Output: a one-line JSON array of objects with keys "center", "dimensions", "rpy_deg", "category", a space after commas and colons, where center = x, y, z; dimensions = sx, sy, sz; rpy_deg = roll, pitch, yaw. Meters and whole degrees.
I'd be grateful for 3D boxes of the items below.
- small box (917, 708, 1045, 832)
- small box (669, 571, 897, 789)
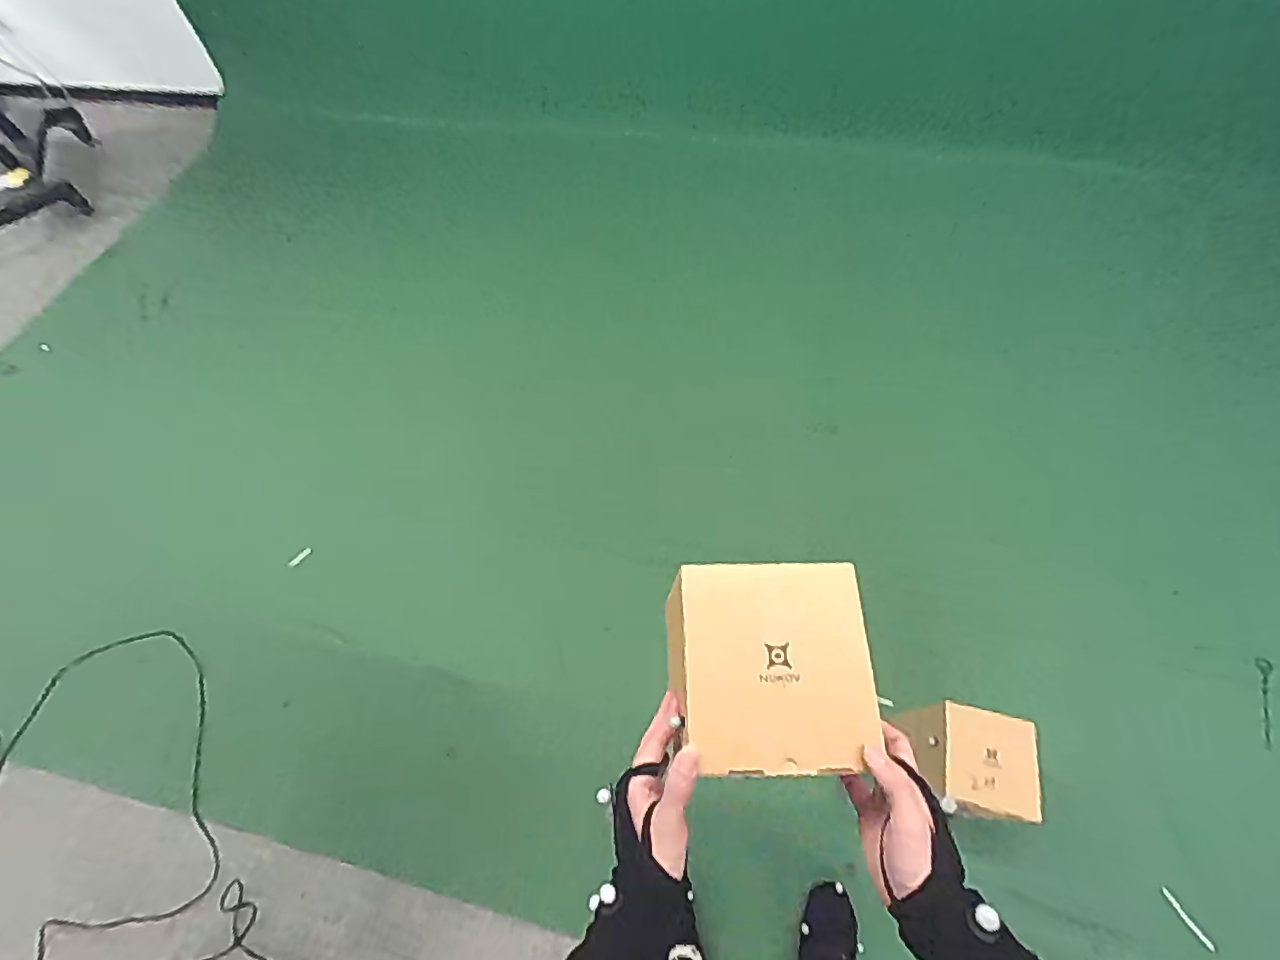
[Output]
[{"center": [0.679, 0.585, 1.096], "dimensions": [0.168, 0.176, 0.179], "rpy_deg": [11, 62, 10], "category": "small box"}, {"center": [0.120, 0.195, 0.536], "dimensions": [0.168, 0.176, 0.179], "rpy_deg": [0, 68, -3], "category": "small box"}]
